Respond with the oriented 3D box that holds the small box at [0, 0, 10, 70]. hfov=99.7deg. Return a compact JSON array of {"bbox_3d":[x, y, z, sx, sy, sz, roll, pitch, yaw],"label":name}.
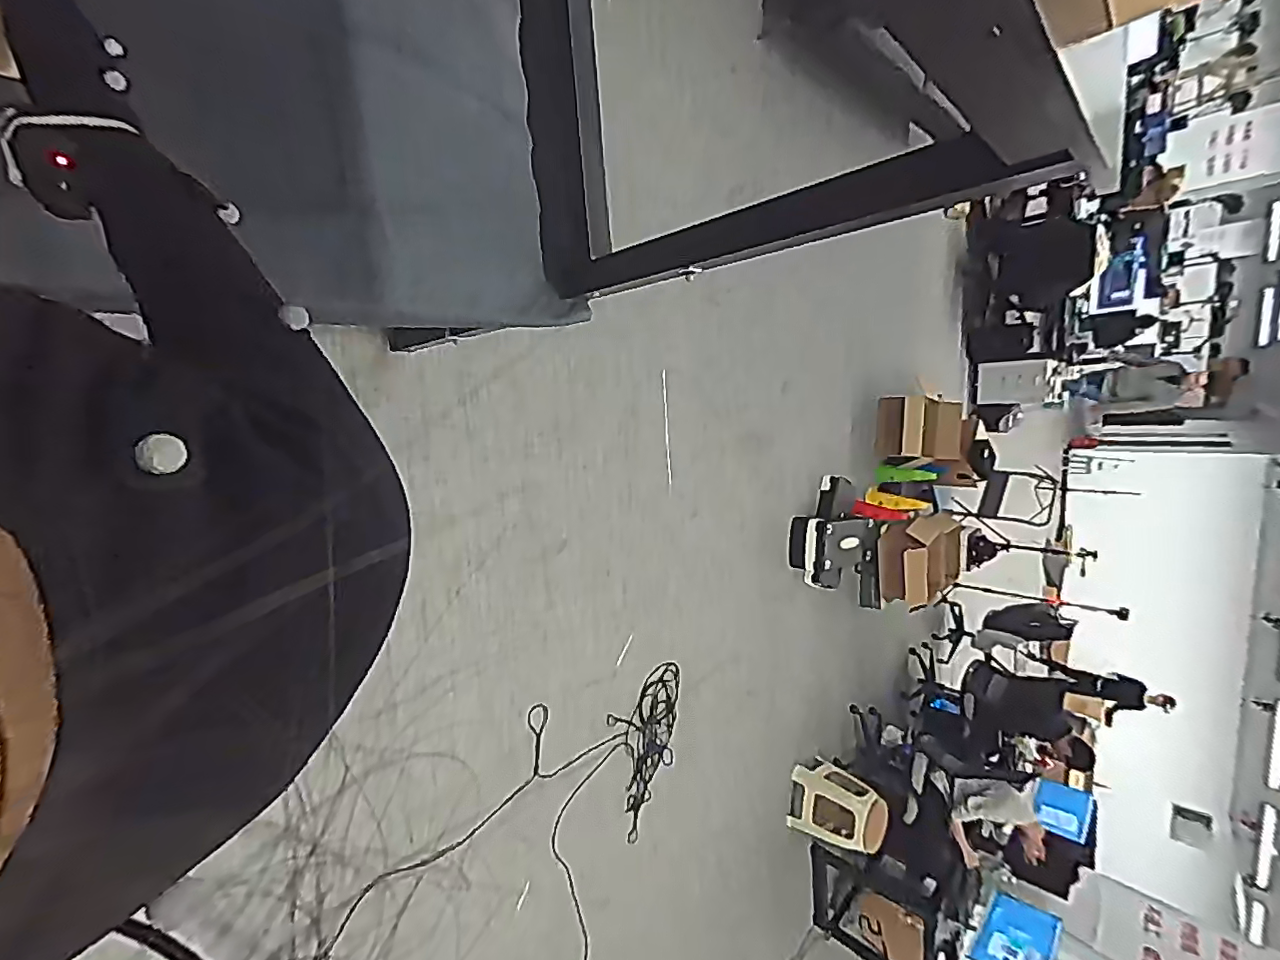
[{"bbox_3d":[-0.589,-0.441,0.380,0.168,0.176,0.179,-11,101,-45],"label":"small box"}]
